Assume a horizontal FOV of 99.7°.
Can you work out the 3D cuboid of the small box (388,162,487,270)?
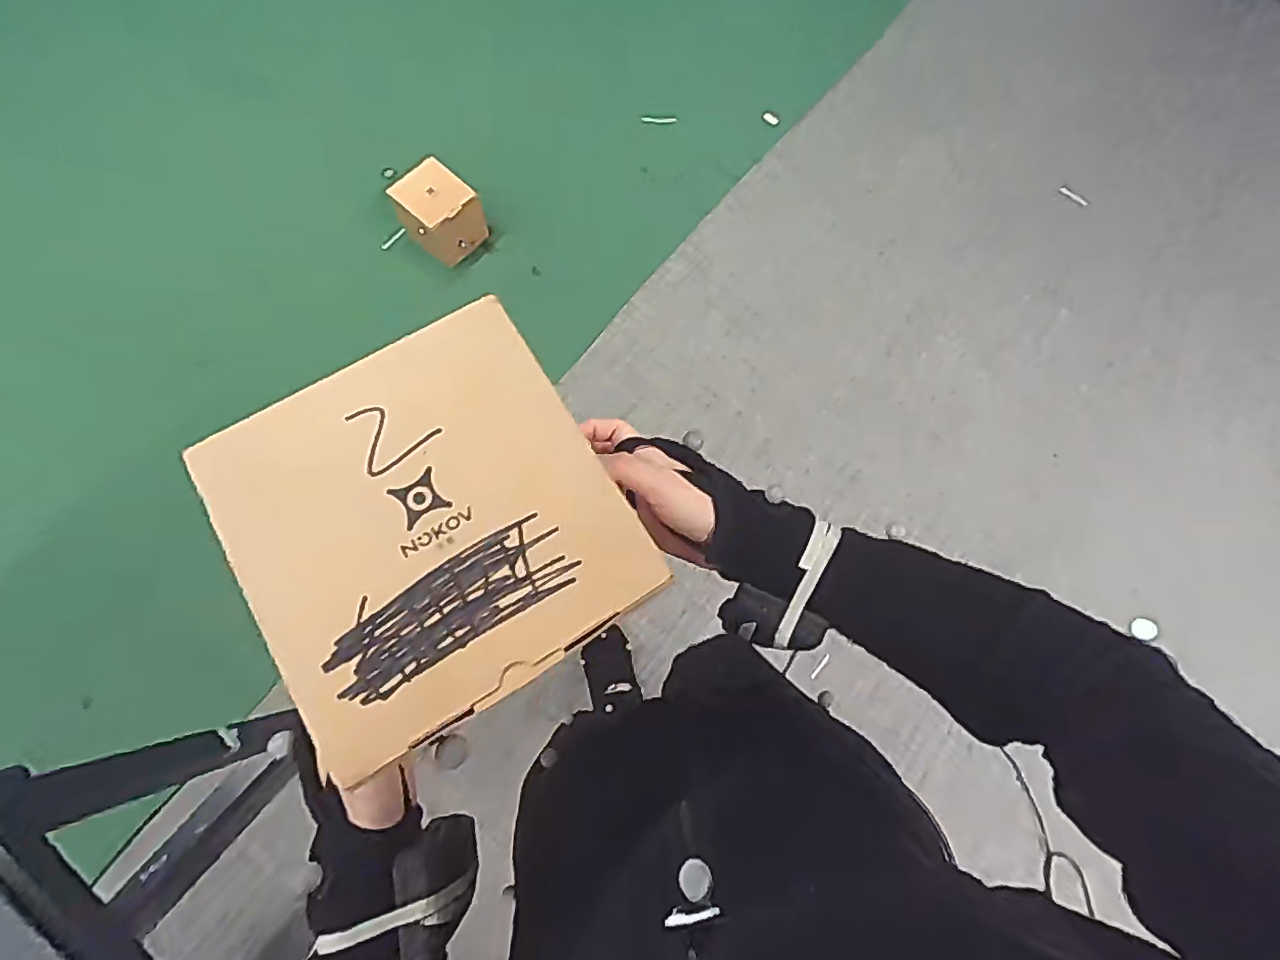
[{"bbox_3d":[-0.559,-0.731,1.515,0.179,0.176,0.168,41,75,7],"label":"small box"}]
